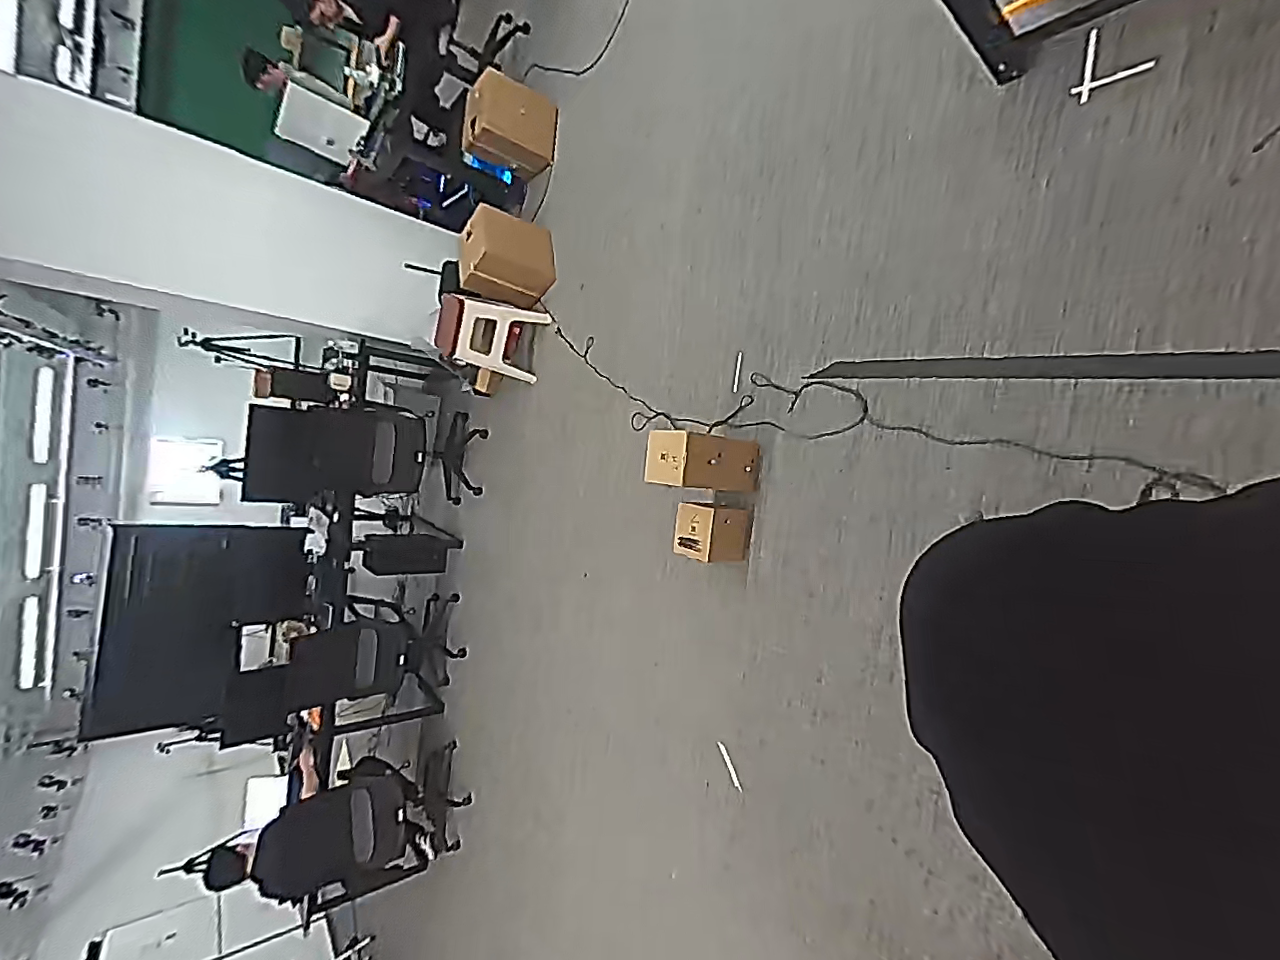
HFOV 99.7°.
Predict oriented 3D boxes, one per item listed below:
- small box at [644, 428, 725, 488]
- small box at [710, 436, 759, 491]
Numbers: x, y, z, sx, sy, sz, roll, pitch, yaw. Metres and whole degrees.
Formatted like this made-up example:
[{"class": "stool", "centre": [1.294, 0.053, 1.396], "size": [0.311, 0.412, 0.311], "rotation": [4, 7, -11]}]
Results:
[{"class": "small box", "centre": [0.137, -0.068, 1.671], "size": [0.179, 0.176, 0.168], "rotation": [9, 94, 50]}, {"class": "small box", "centre": [0.263, -0.058, 1.776], "size": [0.179, 0.176, 0.168], "rotation": [11, 95, 49]}]
